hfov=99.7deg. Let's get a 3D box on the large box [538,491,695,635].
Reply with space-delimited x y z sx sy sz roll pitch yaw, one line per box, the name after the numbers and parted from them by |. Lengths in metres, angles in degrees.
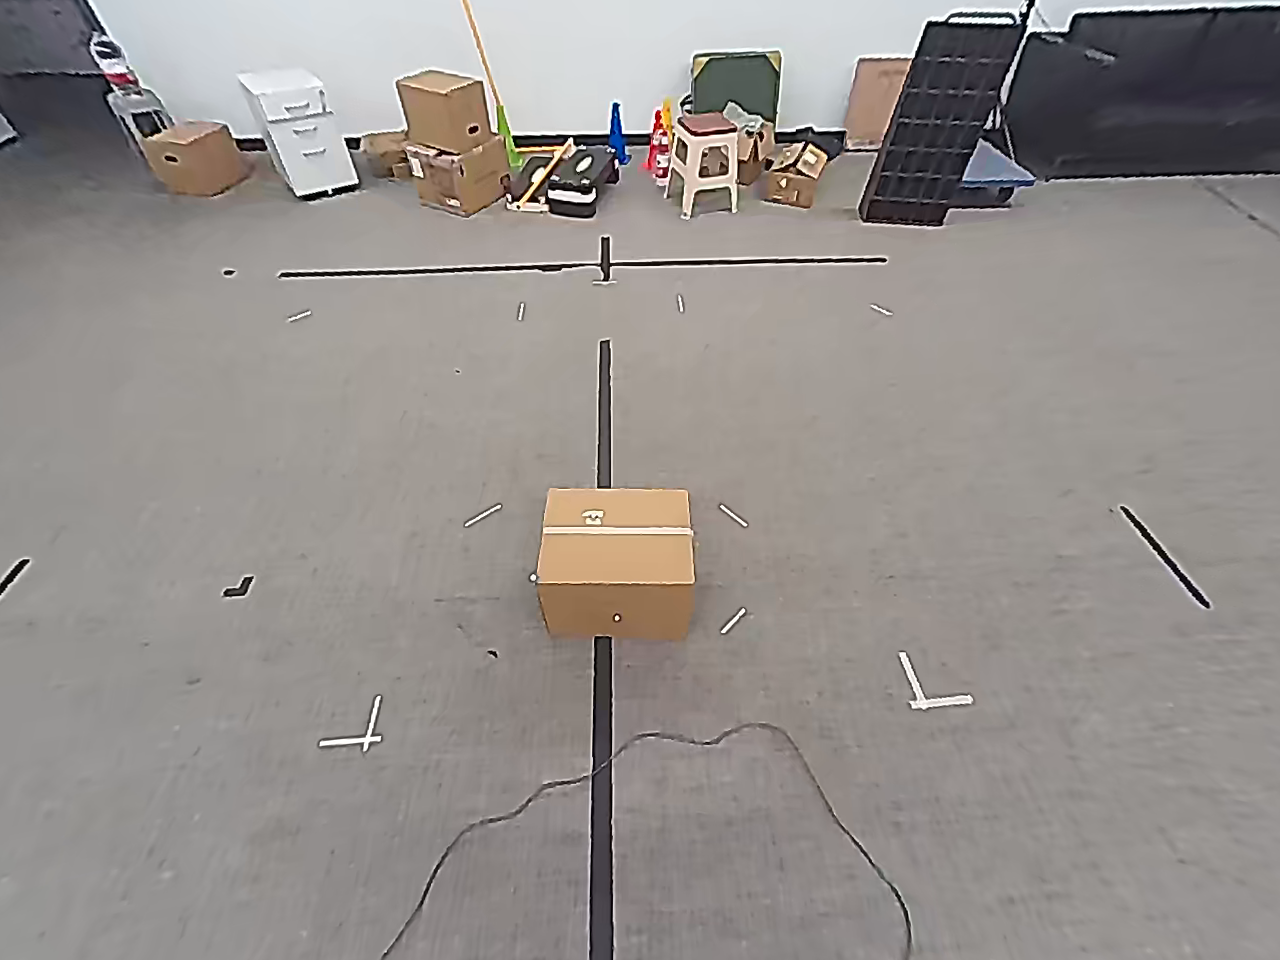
-0.059 0.246 1.575 0.408 0.320 0.320 0 48 0 | large box
